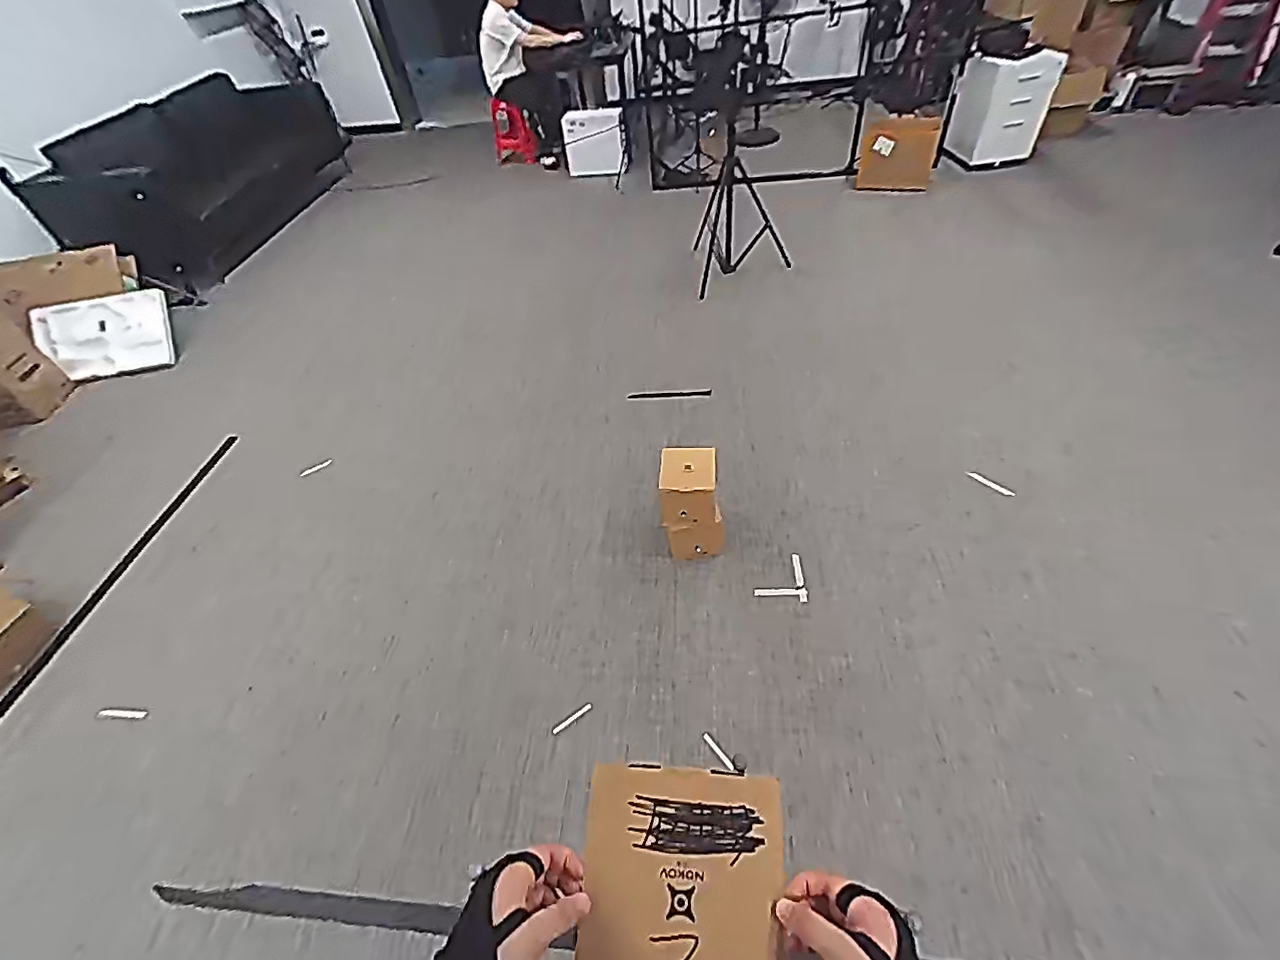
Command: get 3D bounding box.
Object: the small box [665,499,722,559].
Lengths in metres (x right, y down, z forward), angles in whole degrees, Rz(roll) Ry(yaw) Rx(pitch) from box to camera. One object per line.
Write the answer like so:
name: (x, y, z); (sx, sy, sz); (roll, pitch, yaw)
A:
small box: (0.171, 0.134, 1.782); (0.168, 0.176, 0.179); (-10, 47, -1)

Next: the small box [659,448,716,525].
small box: (0.149, 0.019, 1.669); (0.168, 0.176, 0.179); (0, 47, 7)
